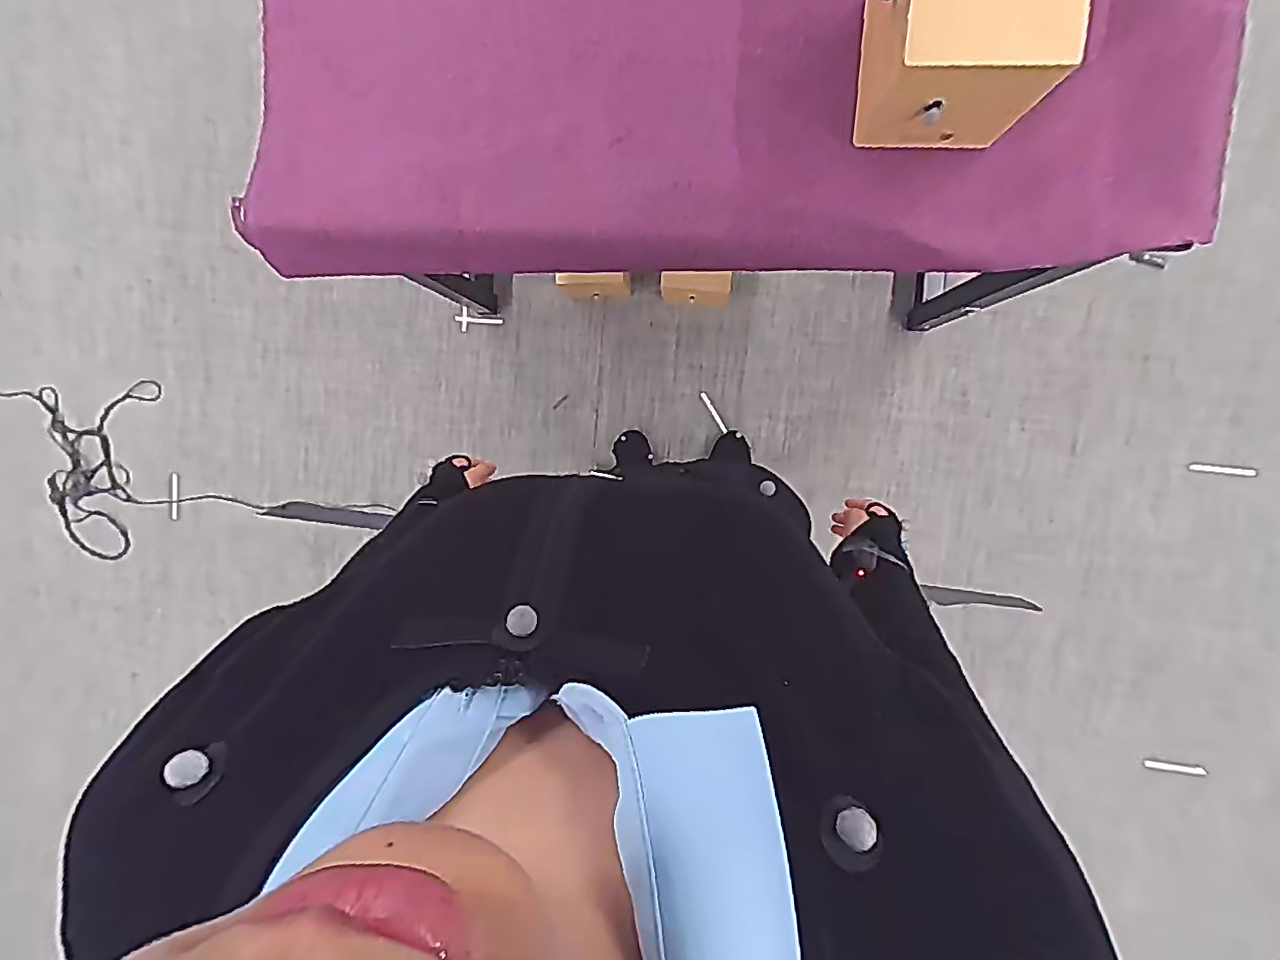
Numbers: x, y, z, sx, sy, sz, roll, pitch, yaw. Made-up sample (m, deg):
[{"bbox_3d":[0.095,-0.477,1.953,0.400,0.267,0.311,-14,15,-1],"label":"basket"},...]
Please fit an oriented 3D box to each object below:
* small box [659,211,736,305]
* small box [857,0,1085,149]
[{"bbox_3d":[0.141,-0.543,1.344,0.168,0.176,0.179,7,96,4],"label":"small box"},{"bbox_3d":[0.350,-0.494,0.596,0.168,0.176,0.179,4,96,5],"label":"small box"}]
